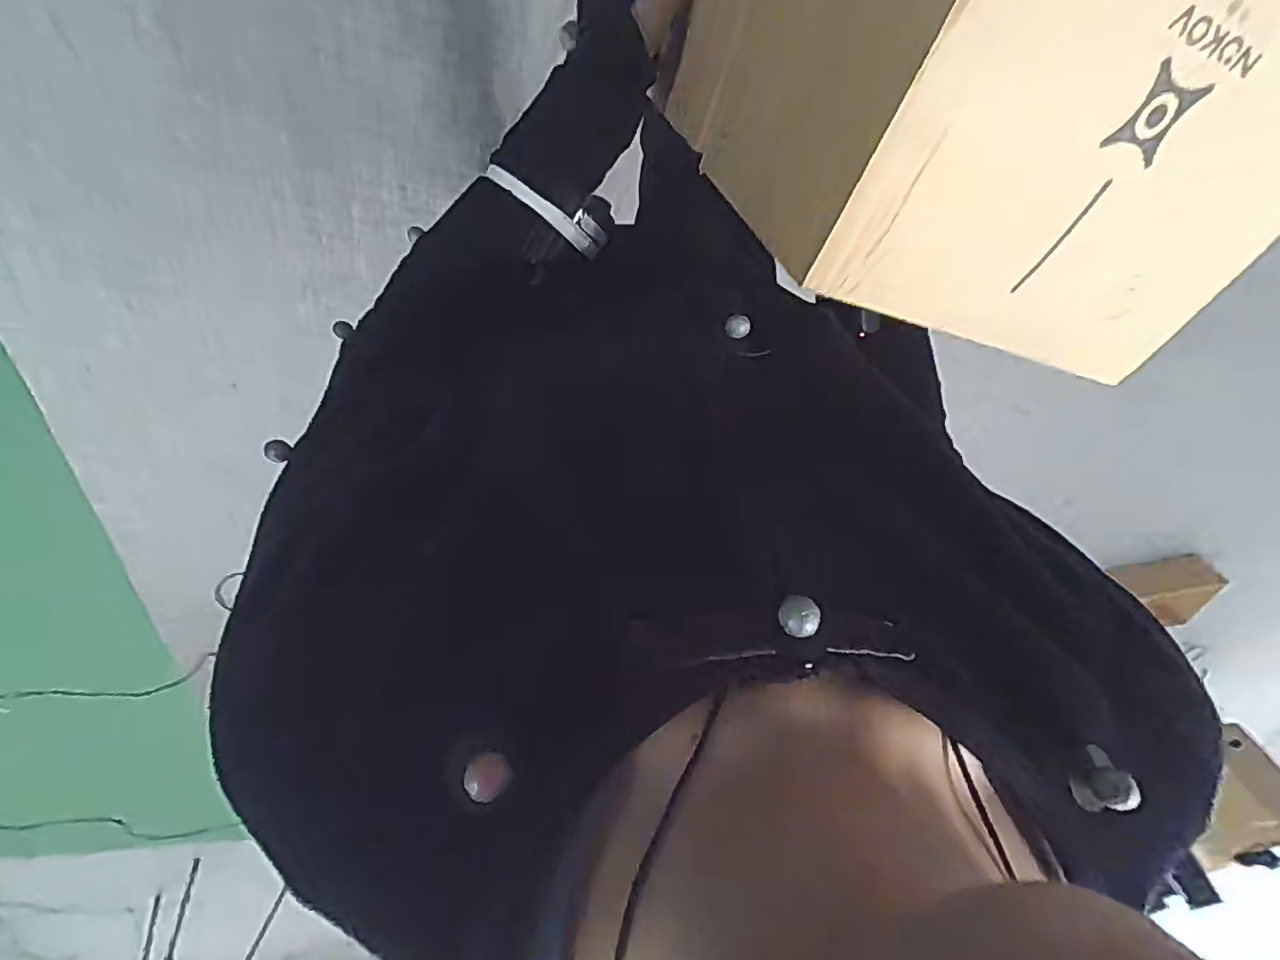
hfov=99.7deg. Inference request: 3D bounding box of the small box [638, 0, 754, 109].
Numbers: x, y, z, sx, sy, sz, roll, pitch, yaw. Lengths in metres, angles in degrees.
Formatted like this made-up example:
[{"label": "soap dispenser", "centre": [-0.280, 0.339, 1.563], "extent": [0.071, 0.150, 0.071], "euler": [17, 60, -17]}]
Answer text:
[{"label": "small box", "centre": [0.104, -0.415, 0.448], "extent": [0.168, 0.176, 0.179], "euler": [8, 131, -19]}]
